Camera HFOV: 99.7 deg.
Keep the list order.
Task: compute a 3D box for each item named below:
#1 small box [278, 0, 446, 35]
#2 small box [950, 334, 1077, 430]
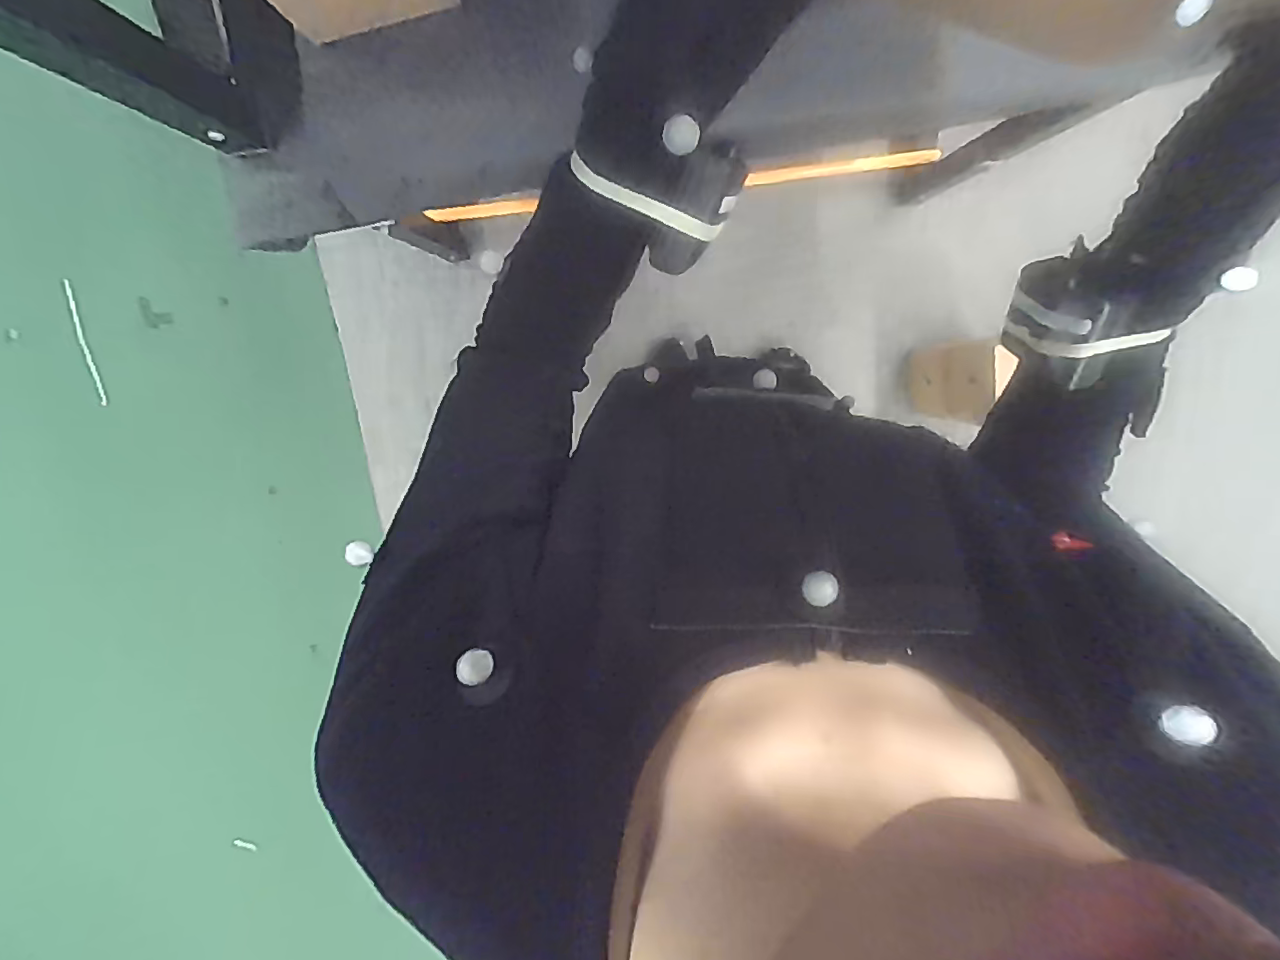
[{"bbox_3d":[-0.301,-0.567,0.507,0.179,0.176,0.168,-13,104,3],"label":"small box"},{"bbox_3d":[0.802,-0.216,1.176,0.168,0.176,0.179,-9,103,2],"label":"small box"}]
